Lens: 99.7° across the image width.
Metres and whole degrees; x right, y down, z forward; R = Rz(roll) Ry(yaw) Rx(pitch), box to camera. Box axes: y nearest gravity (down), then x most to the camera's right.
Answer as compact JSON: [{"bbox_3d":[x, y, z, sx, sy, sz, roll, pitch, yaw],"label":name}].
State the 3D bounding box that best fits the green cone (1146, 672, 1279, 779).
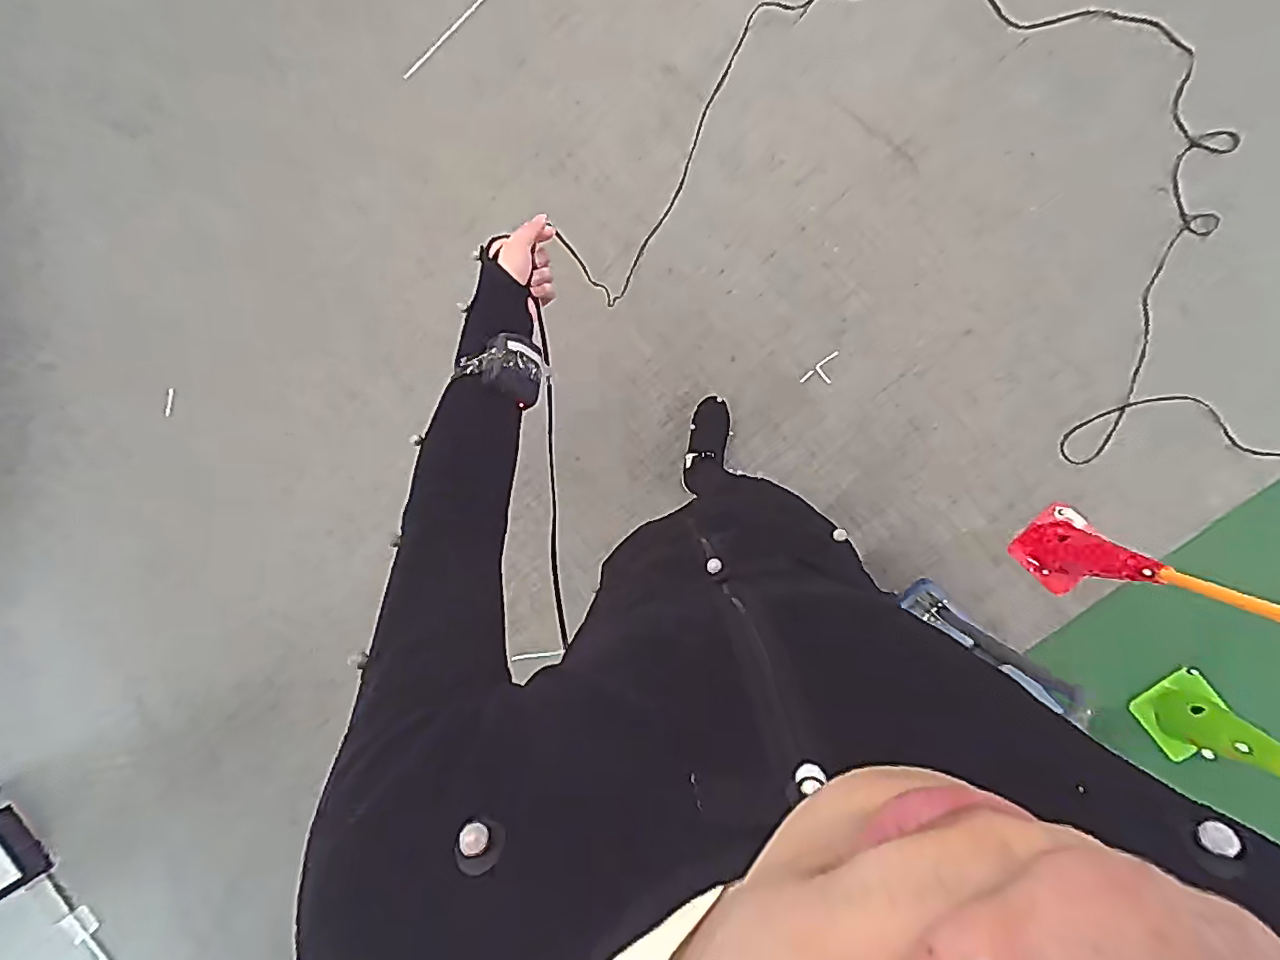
[{"bbox_3d":[1.462,0.640,1.263,0.200,0.368,0.202,-39,88,6],"label":"green cone"}]
